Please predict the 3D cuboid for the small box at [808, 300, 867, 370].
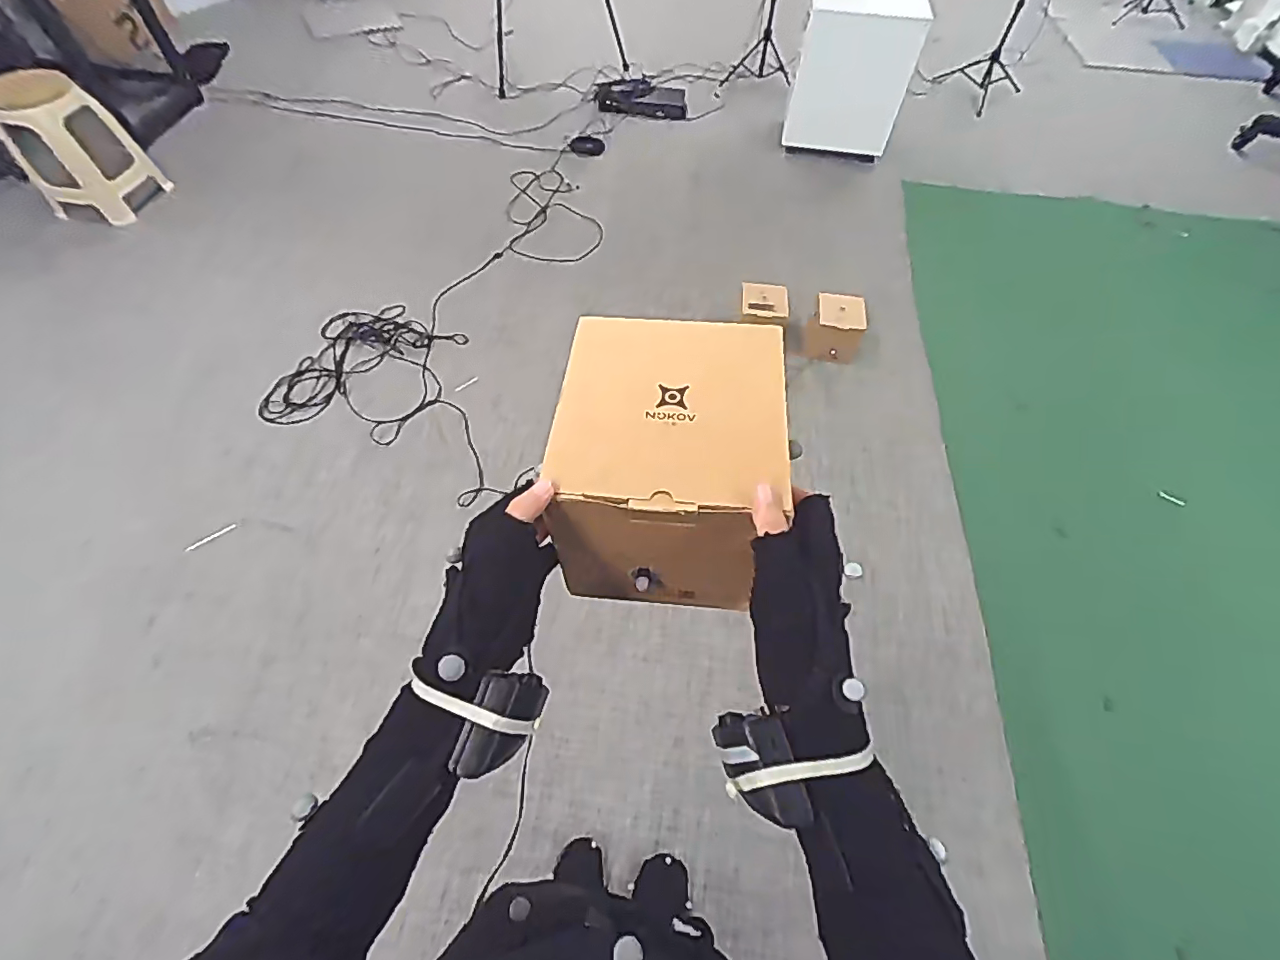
[{"bbox_3d":[0.730,-0.541,2.015,0.168,0.176,0.179,8,58,5],"label":"small box"}]
